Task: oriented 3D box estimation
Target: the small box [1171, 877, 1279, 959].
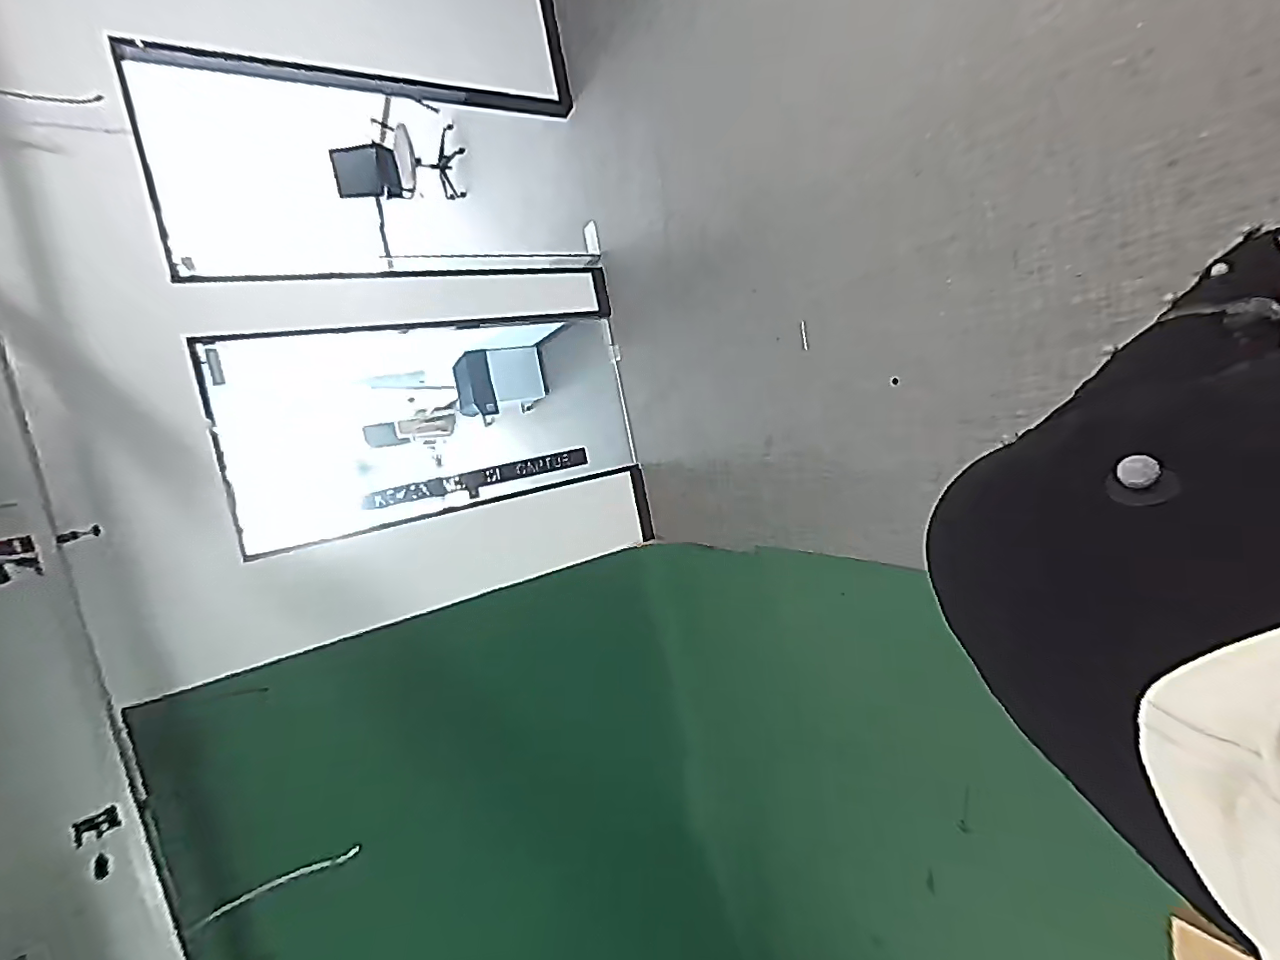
[{"bbox_3d":[1.112,0.876,0.978,0.179,0.176,0.168,3,103,61],"label":"small box"}]
